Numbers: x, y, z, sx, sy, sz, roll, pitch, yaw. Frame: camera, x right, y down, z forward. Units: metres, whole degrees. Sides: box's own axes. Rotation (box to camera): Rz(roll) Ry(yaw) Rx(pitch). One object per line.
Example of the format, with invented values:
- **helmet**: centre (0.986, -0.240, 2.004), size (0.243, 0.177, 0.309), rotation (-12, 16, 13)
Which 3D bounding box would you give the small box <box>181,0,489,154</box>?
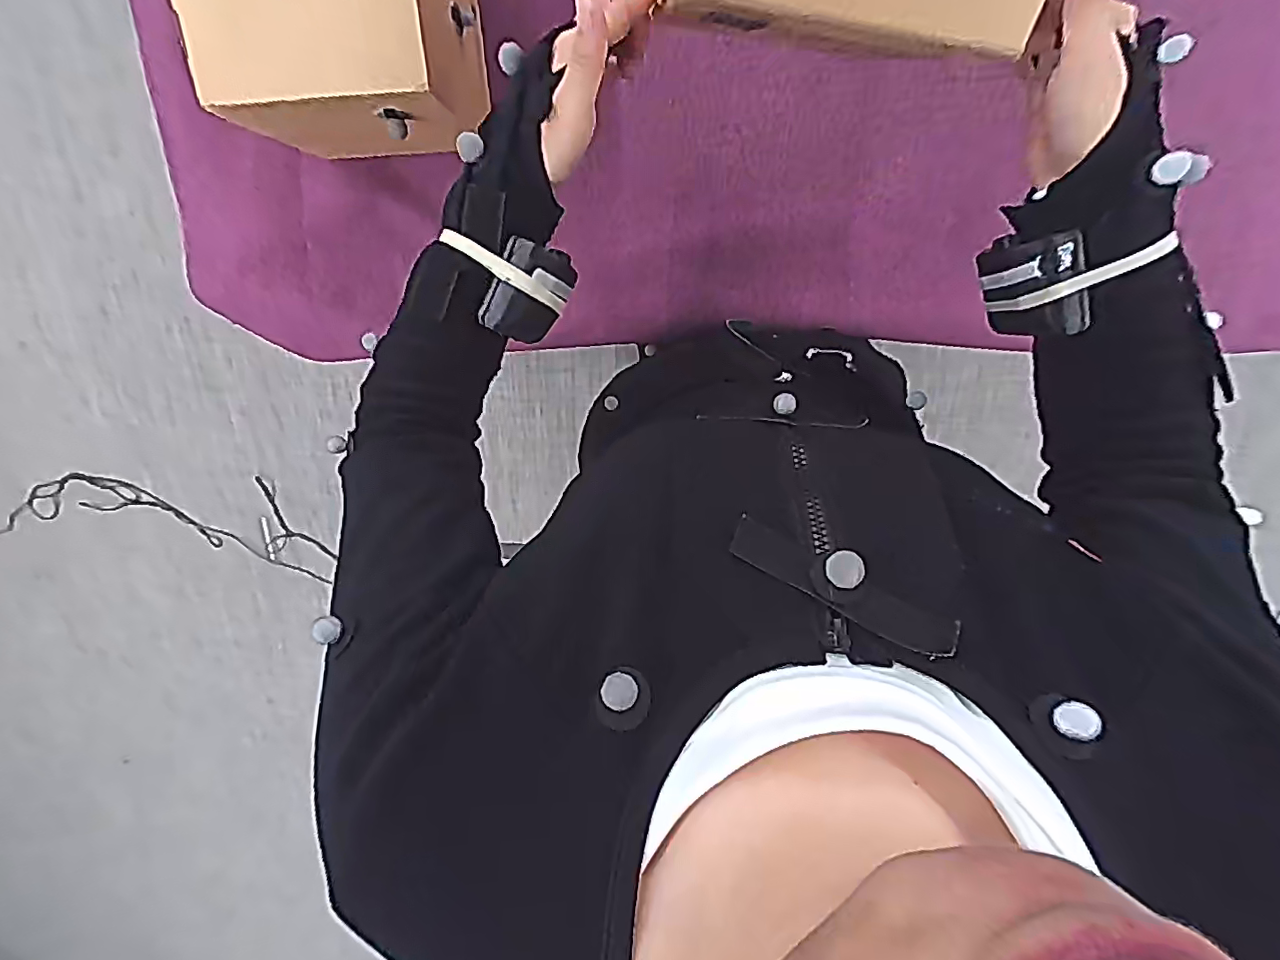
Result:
- **small box**: centre (-0.233, -0.382, 0.443), size (0.179, 0.176, 0.168), rotation (-2, 109, 3)
